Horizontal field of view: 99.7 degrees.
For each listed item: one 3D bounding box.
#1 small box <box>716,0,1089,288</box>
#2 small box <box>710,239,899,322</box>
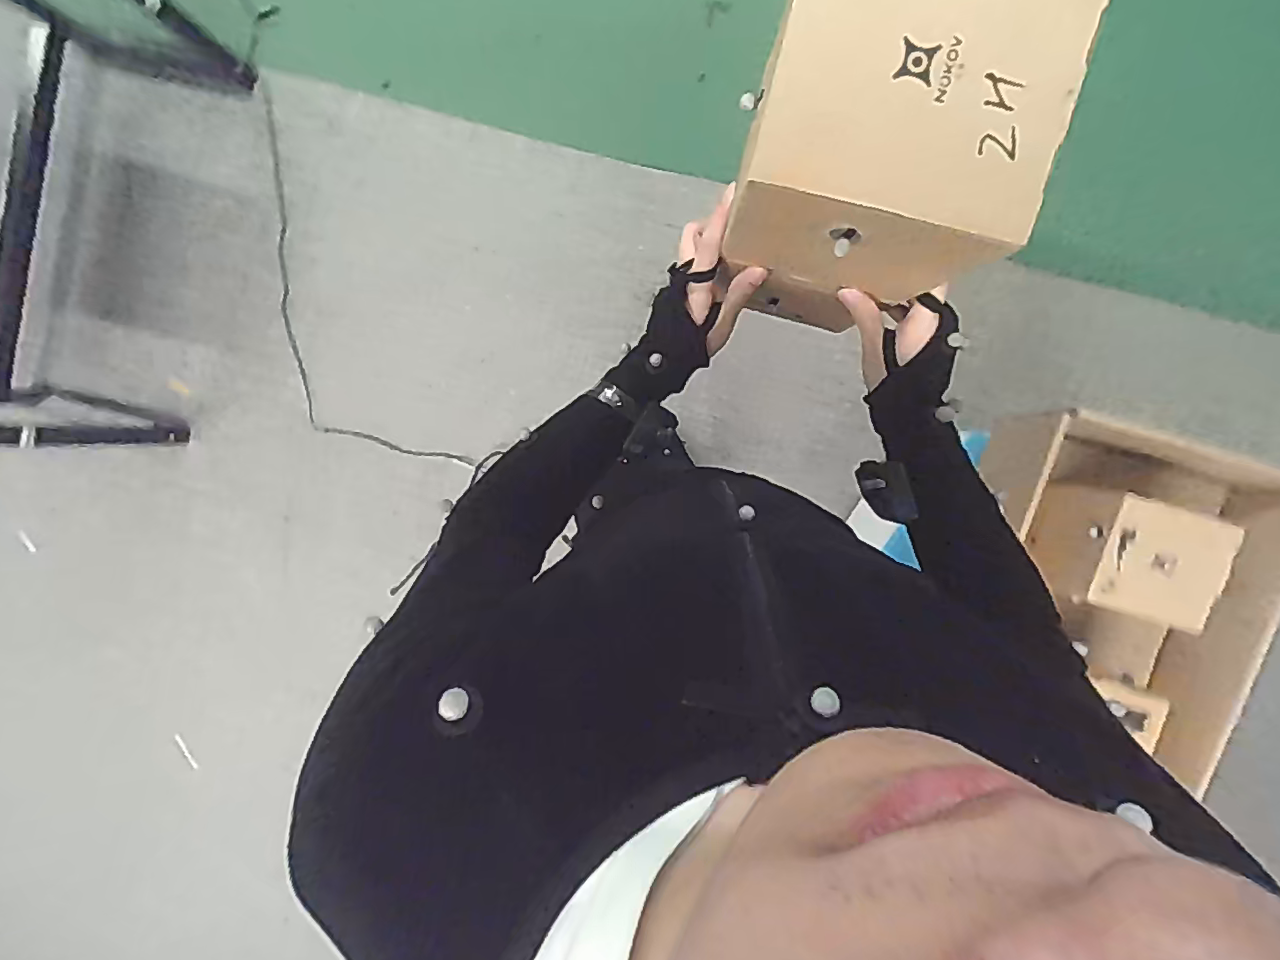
[{"bbox_3d":[0.161,-0.253,0.392,0.179,0.176,0.168,14,98,0],"label":"small box"},{"bbox_3d":[0.175,-0.277,0.556,0.168,0.176,0.179,14,99,0],"label":"small box"}]
